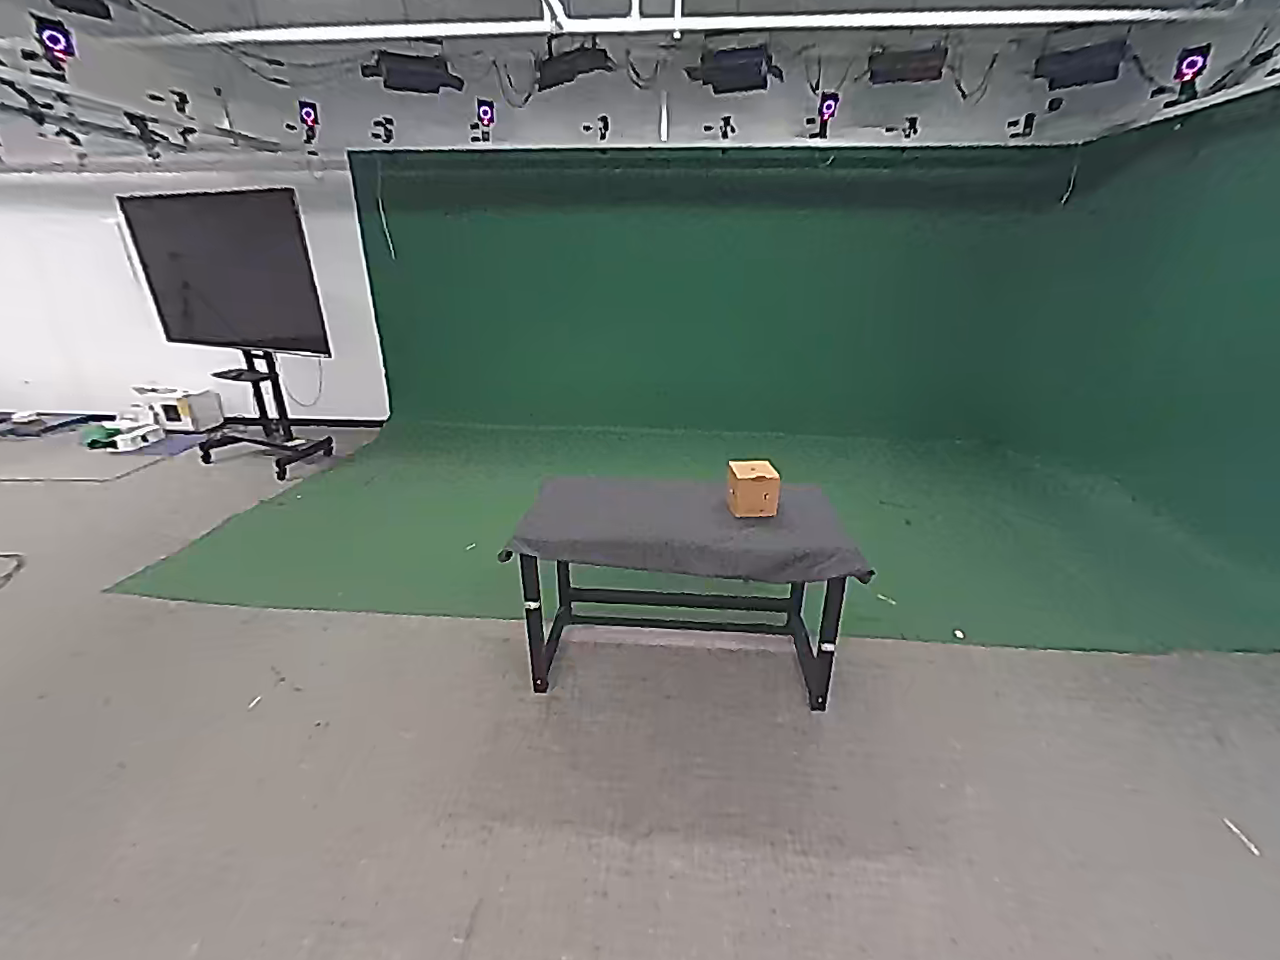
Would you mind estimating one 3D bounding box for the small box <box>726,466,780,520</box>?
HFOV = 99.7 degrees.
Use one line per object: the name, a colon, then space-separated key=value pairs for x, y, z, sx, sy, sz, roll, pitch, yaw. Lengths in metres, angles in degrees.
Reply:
small box: x=0.445 y=0.051 z=2.144 sx=0.168 sy=0.176 sz=0.179 roll=0 pitch=21 yaw=-5
